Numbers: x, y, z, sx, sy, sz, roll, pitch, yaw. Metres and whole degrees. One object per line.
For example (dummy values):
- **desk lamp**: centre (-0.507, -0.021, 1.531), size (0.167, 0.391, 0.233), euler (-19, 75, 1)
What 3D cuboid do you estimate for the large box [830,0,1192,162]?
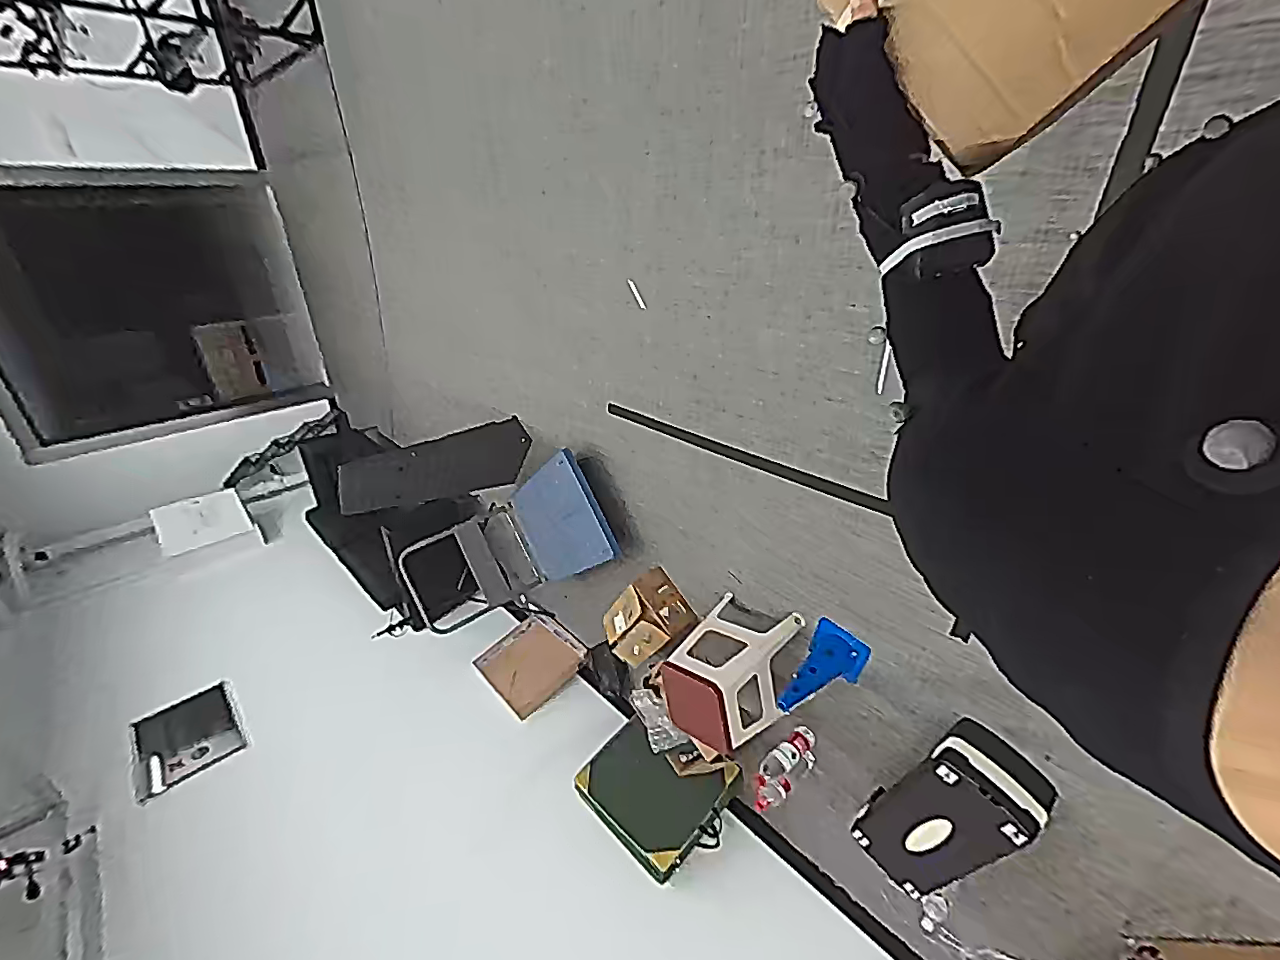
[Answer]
- **large box**: centre (0.350, -0.515, 0.364), size (0.320, 0.320, 0.408), euler (51, 143, 0)
